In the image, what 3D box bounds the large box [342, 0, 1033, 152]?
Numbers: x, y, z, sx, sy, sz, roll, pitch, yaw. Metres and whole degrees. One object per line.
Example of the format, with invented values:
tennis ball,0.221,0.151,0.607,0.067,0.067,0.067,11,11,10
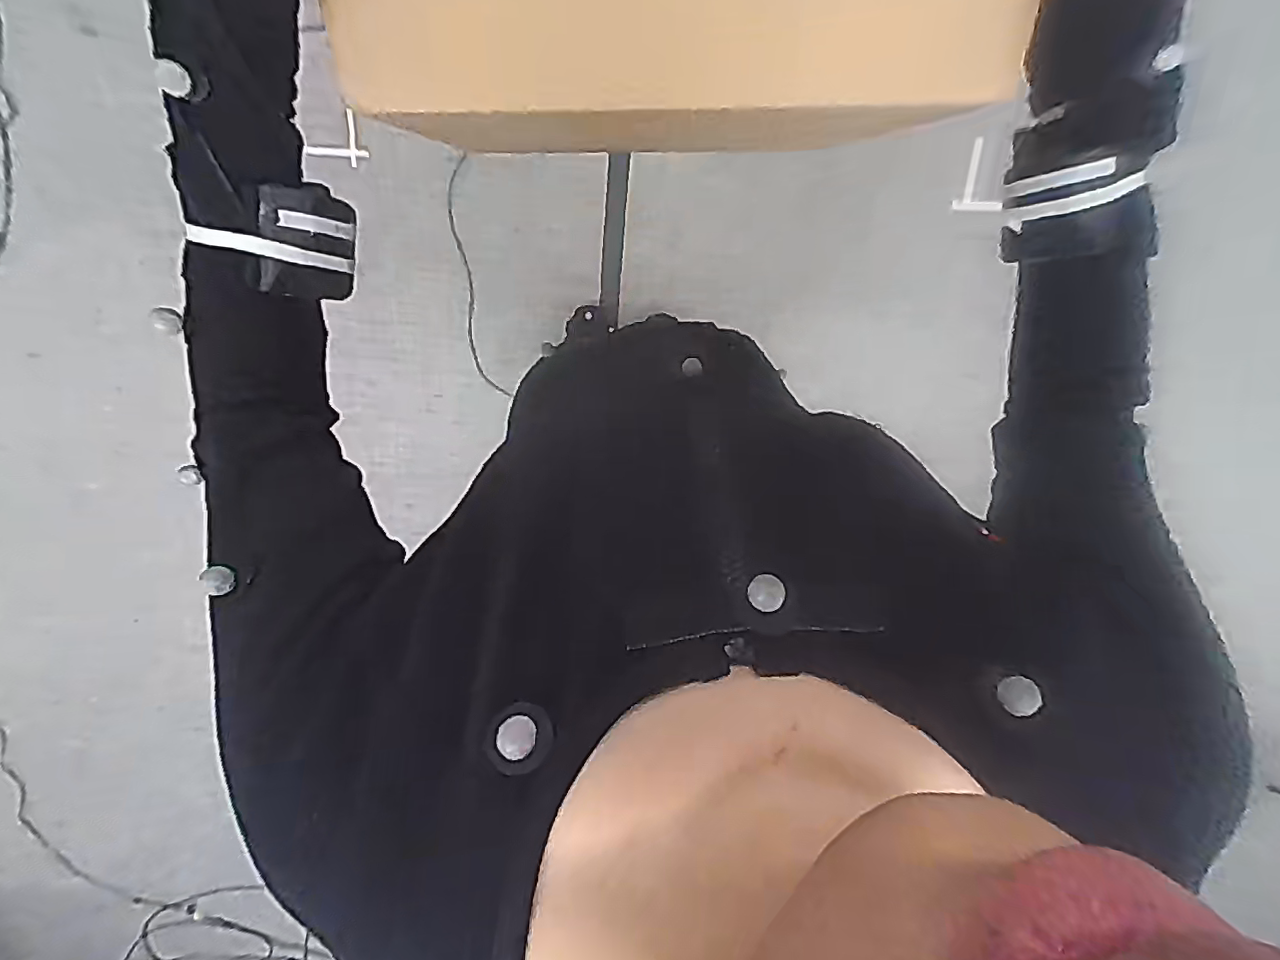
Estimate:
large box,0.017,-0.436,0.390,0.408,0.320,0.320,-3,118,-3
